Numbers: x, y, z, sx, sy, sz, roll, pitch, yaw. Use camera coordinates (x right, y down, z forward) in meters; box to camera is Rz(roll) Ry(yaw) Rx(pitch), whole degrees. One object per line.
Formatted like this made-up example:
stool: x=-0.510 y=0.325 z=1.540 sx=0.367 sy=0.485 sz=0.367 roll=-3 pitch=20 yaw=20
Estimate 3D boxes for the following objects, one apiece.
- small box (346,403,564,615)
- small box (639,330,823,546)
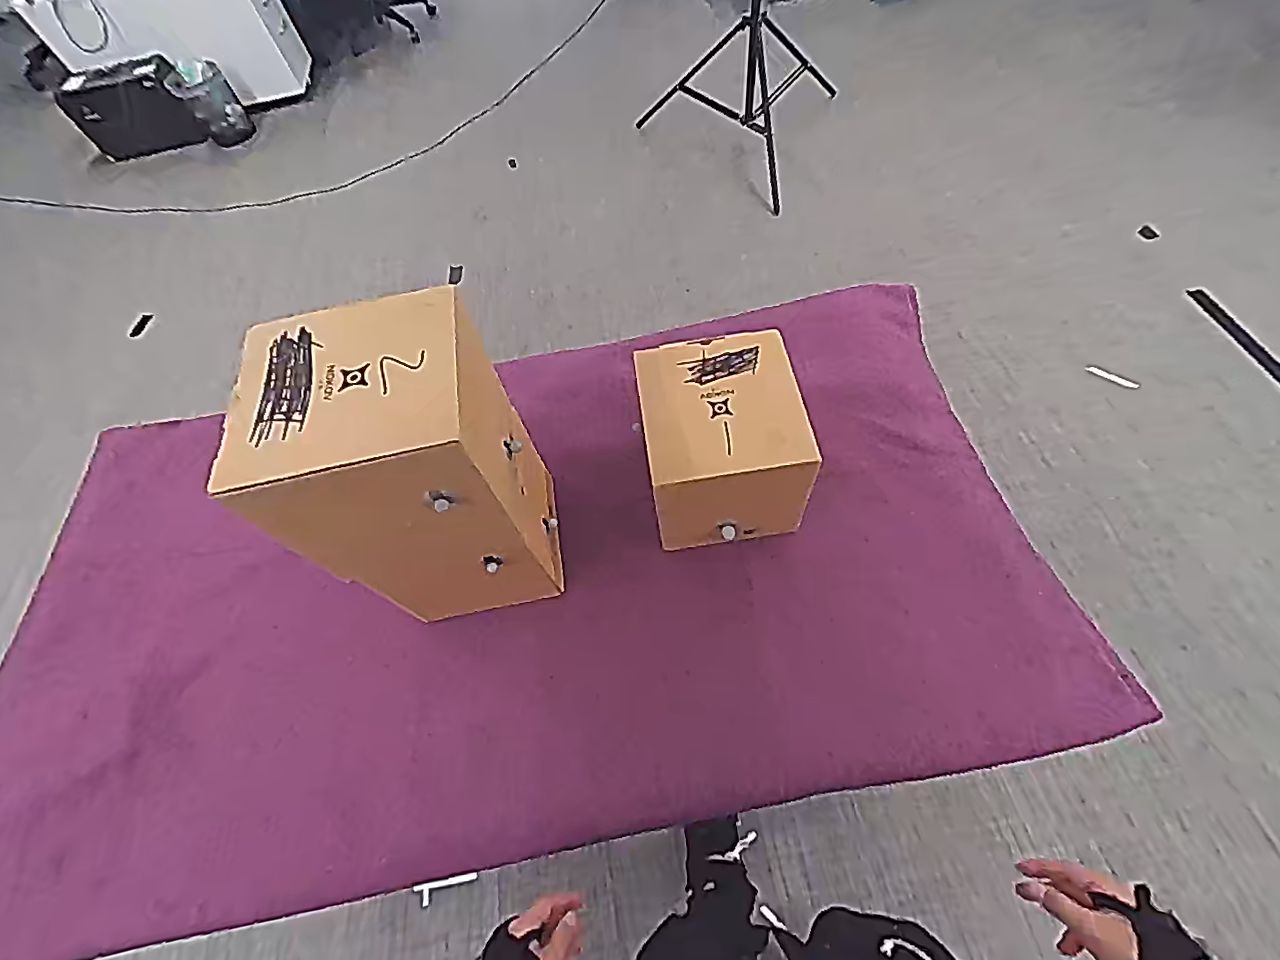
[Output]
small box: x=-0.197 y=0.042 z=0.618 sx=0.179 sy=0.176 sz=0.168 roll=-12 pitch=59 yaw=0
small box: x=0.094 y=-0.042 z=0.628 sx=0.168 sy=0.176 sz=0.179 roll=-9 pitch=60 yaw=2
